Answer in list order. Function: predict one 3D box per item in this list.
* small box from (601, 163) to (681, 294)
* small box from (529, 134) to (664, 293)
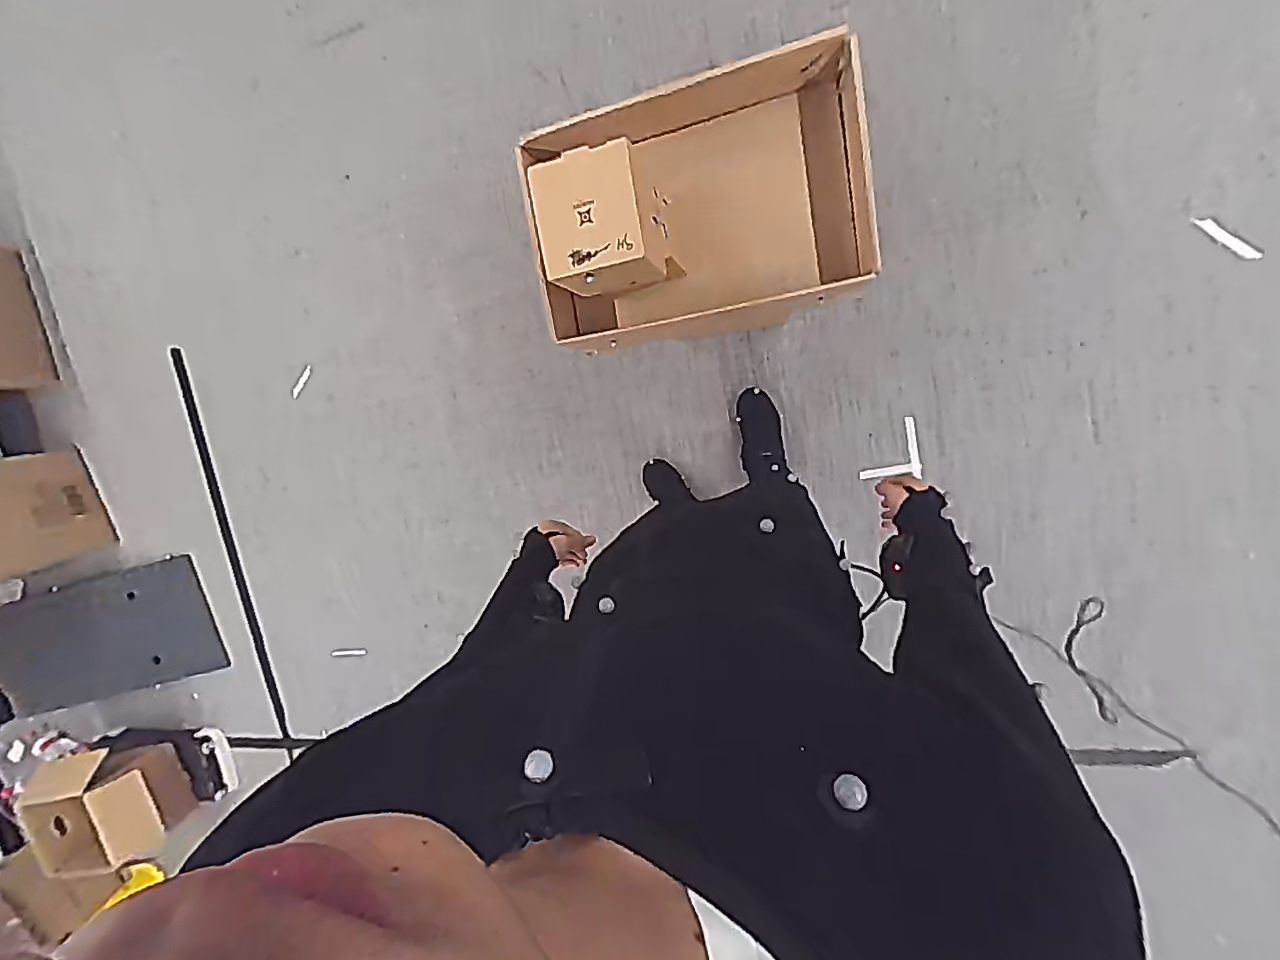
[{"bbox_3d":[-0.026,-0.477,1.055,0.179,0.176,0.168,-12,96,17],"label":"small box"},{"bbox_3d":[-0.064,-0.429,0.903,0.168,0.176,0.179,-7,97,16],"label":"small box"}]
